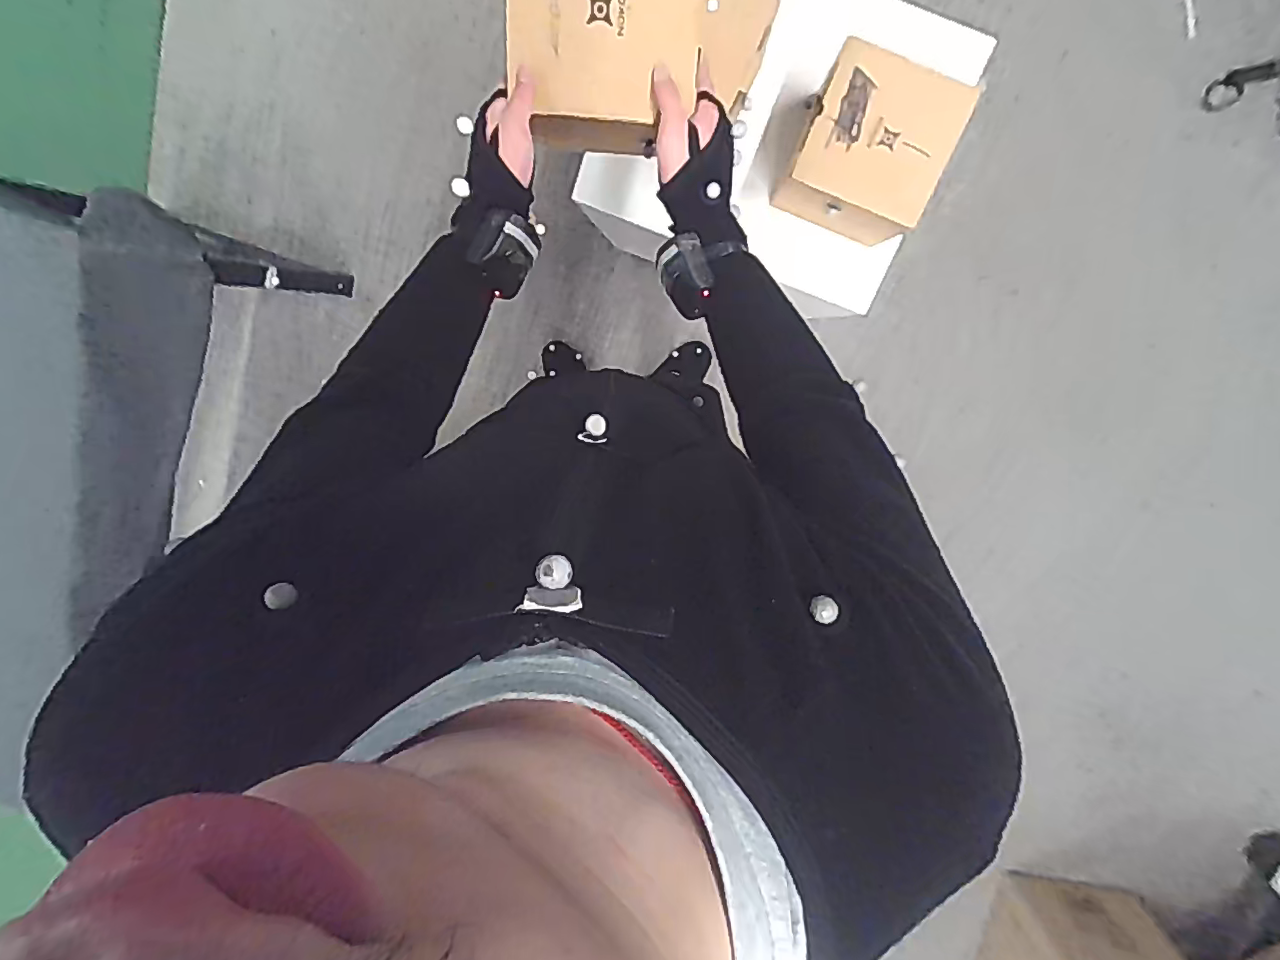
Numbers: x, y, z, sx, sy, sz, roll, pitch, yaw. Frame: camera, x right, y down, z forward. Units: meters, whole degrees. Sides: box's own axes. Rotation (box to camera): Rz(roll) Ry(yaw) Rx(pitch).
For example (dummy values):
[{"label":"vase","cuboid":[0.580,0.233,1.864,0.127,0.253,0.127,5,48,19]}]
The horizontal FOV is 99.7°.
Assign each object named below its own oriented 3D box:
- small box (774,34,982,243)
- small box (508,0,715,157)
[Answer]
[{"label":"small box","cuboid":[0.301,-0.440,0.733,0.179,0.176,0.168,21,105,-4]},{"label":"small box","cuboid":[-0.025,-0.427,0.525,0.179,0.176,0.168,2,110,0]}]
